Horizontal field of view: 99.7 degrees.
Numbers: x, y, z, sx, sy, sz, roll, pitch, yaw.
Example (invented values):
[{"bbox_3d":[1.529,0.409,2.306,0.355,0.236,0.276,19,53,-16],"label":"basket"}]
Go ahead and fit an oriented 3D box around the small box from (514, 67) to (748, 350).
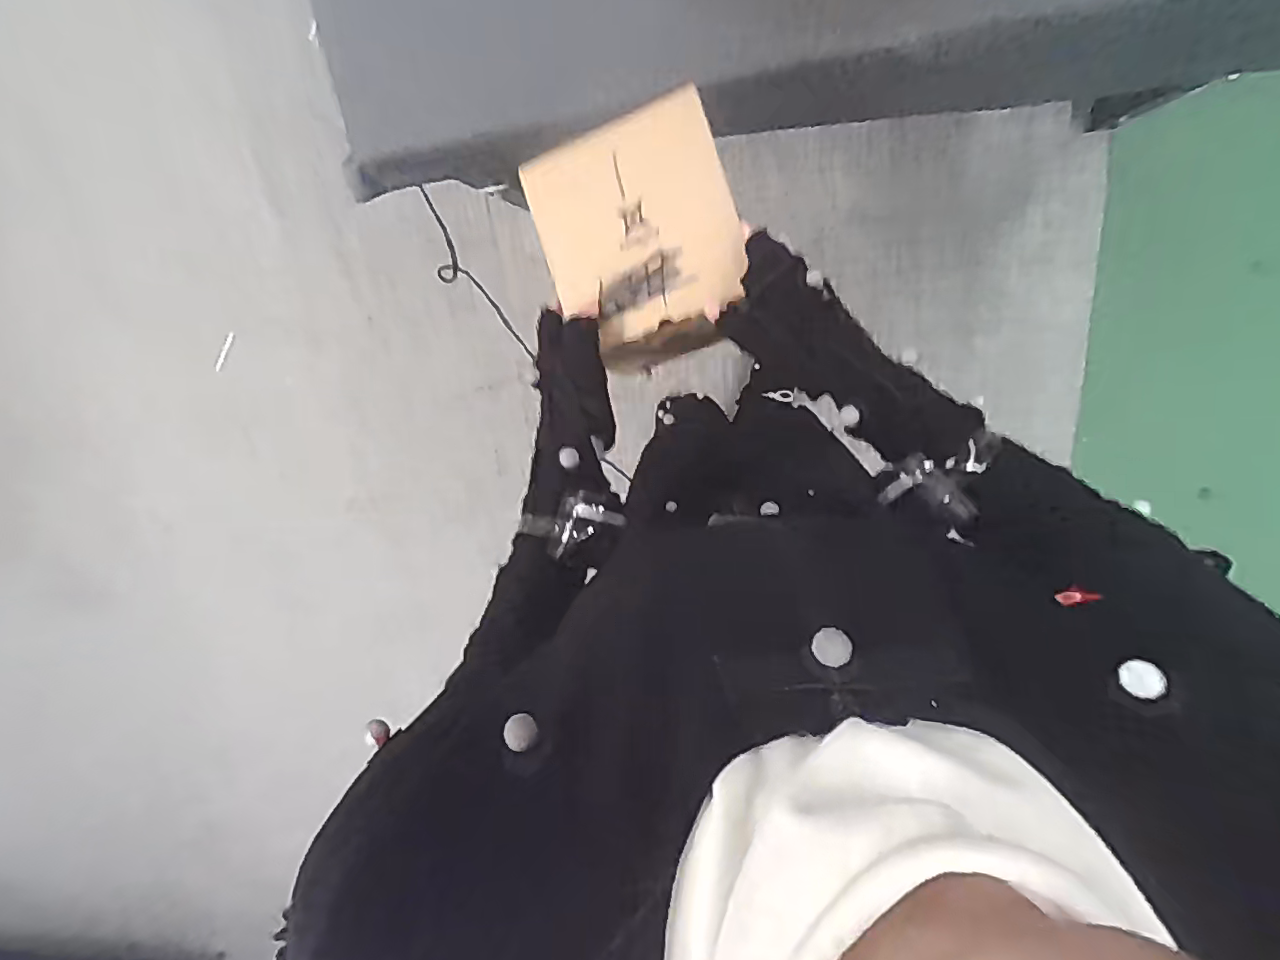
[{"bbox_3d":[0.006,-0.236,0.530,0.168,0.176,0.179,-16,92,11],"label":"small box"}]
